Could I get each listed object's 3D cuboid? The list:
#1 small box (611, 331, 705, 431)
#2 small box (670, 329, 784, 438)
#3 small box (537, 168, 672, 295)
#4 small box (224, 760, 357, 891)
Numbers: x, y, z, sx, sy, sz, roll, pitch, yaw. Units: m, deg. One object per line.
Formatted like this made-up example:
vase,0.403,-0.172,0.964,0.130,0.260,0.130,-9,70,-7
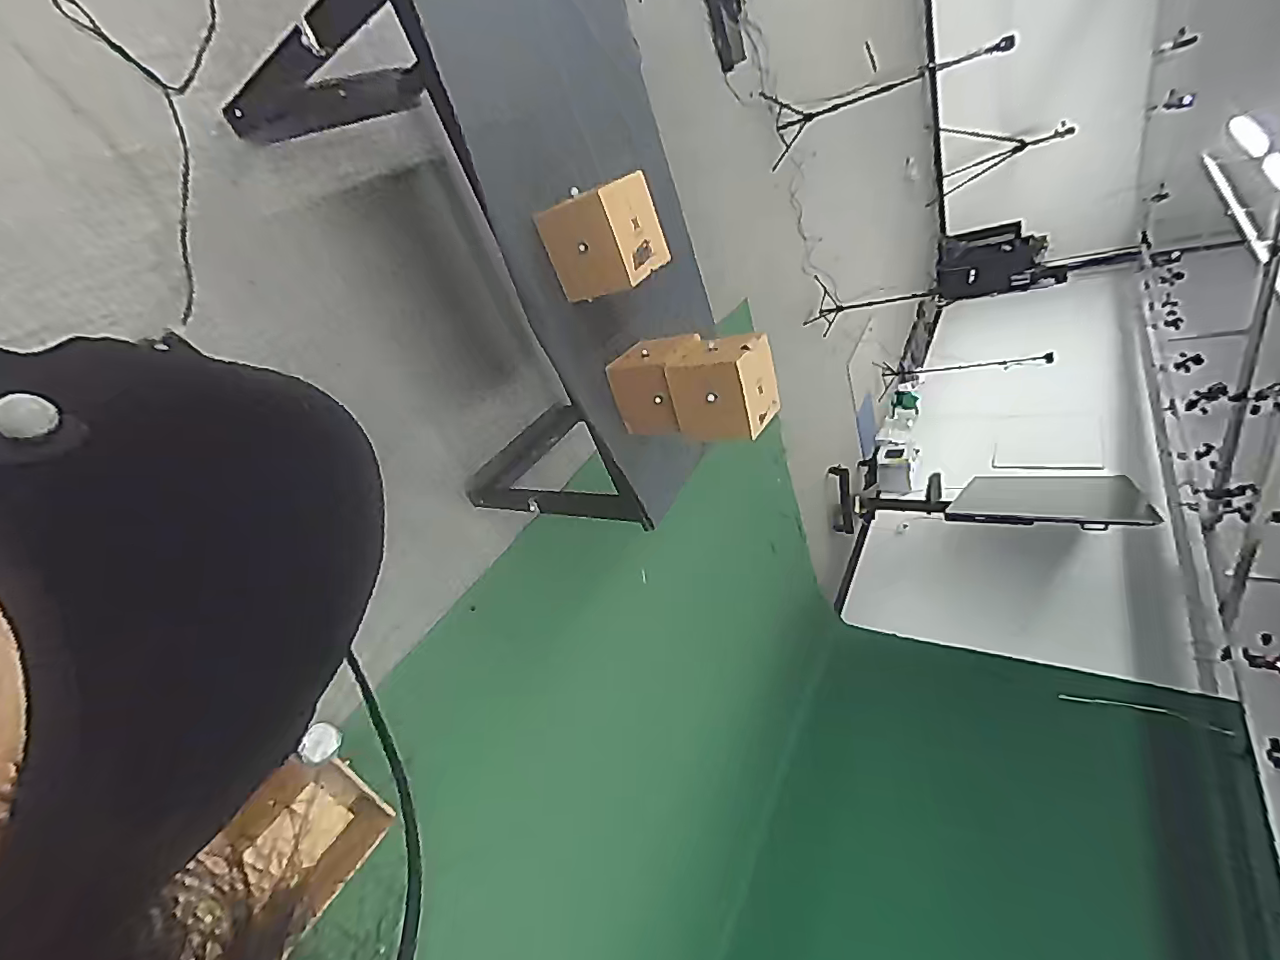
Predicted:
small box,0.057,-0.223,1.250,0.168,0.176,0.179,-47,128,-41
small box,0.184,-0.199,1.148,0.168,0.176,0.179,-44,125,-43
small box,-0.067,-0.481,1.068,0.168,0.176,0.179,-51,129,-40
small box,-0.818,0.797,1.266,0.179,0.176,0.168,-49,127,-39
